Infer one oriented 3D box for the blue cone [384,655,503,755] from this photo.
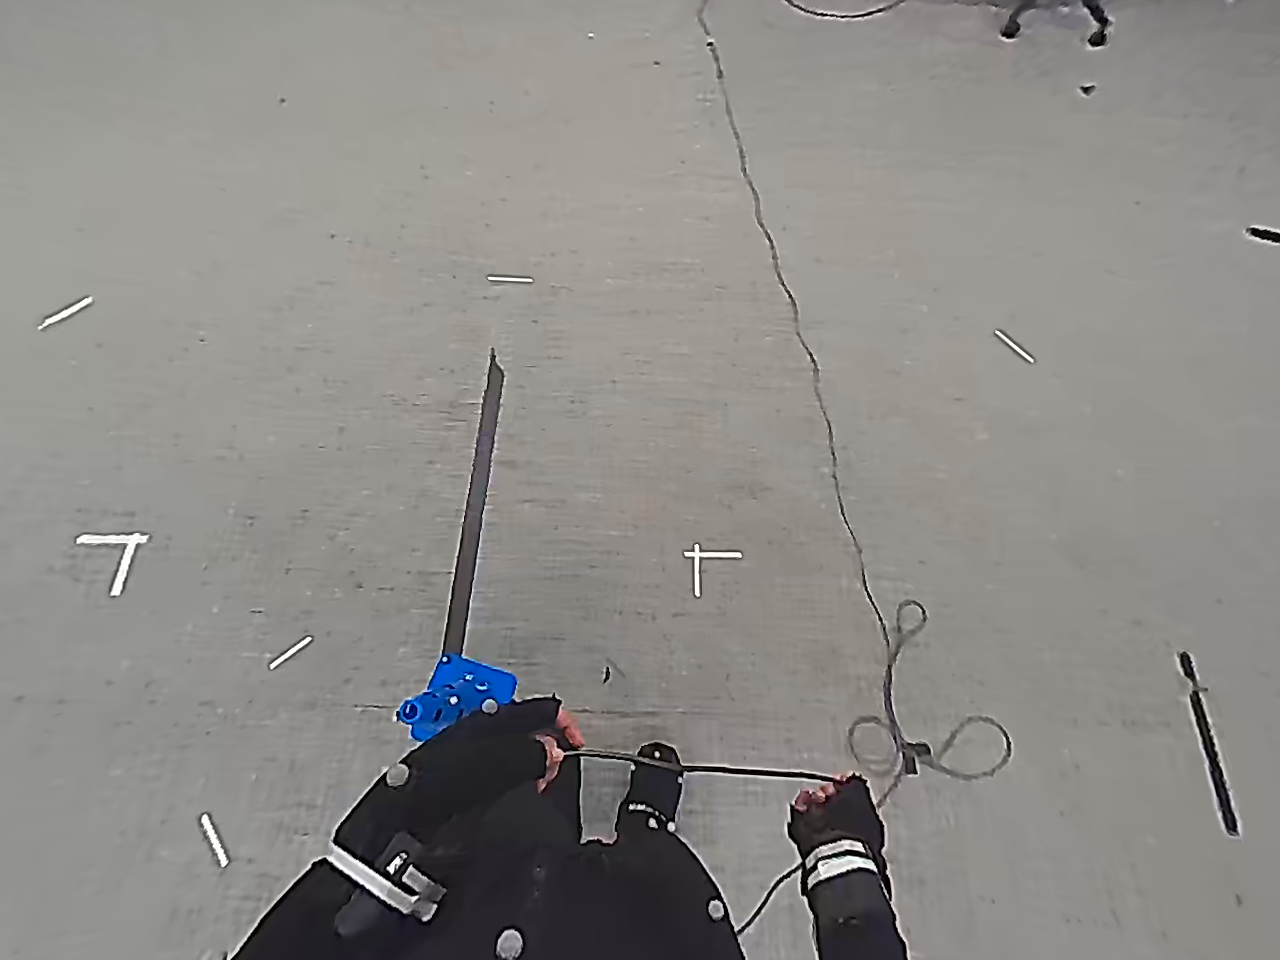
[{"bbox_3d":[-0.430,0.470,1.126,0.192,0.380,0.193,18,69,6],"label":"blue cone"}]
